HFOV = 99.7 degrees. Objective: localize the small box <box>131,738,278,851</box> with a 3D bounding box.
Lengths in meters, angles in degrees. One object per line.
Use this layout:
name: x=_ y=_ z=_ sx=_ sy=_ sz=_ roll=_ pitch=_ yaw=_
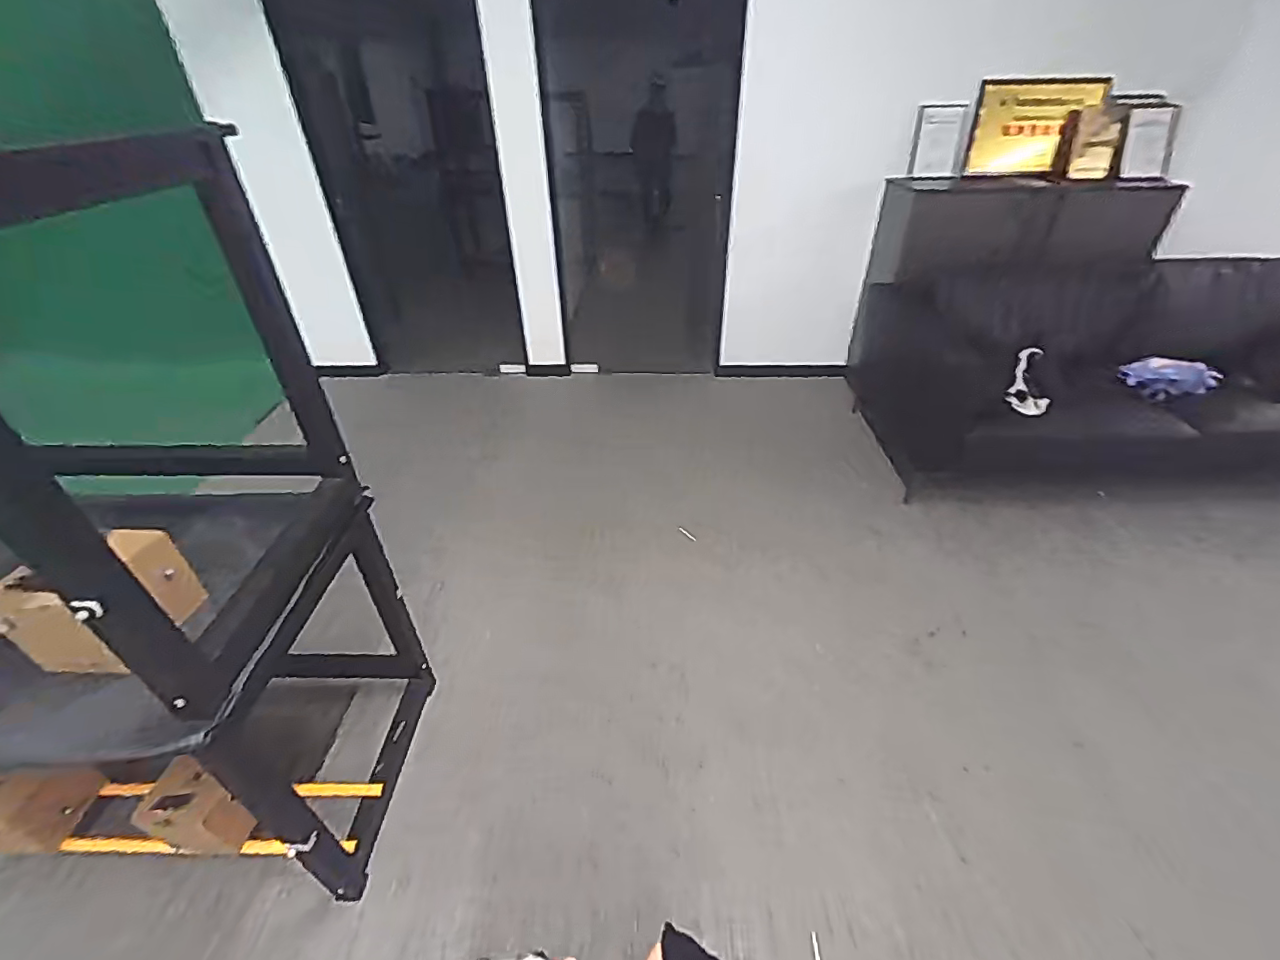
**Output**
small box: x=-0.985 y=0.726 z=1.246 sx=0.168 sy=0.176 sz=0.179 roll=2 pitch=37 yaw=4
